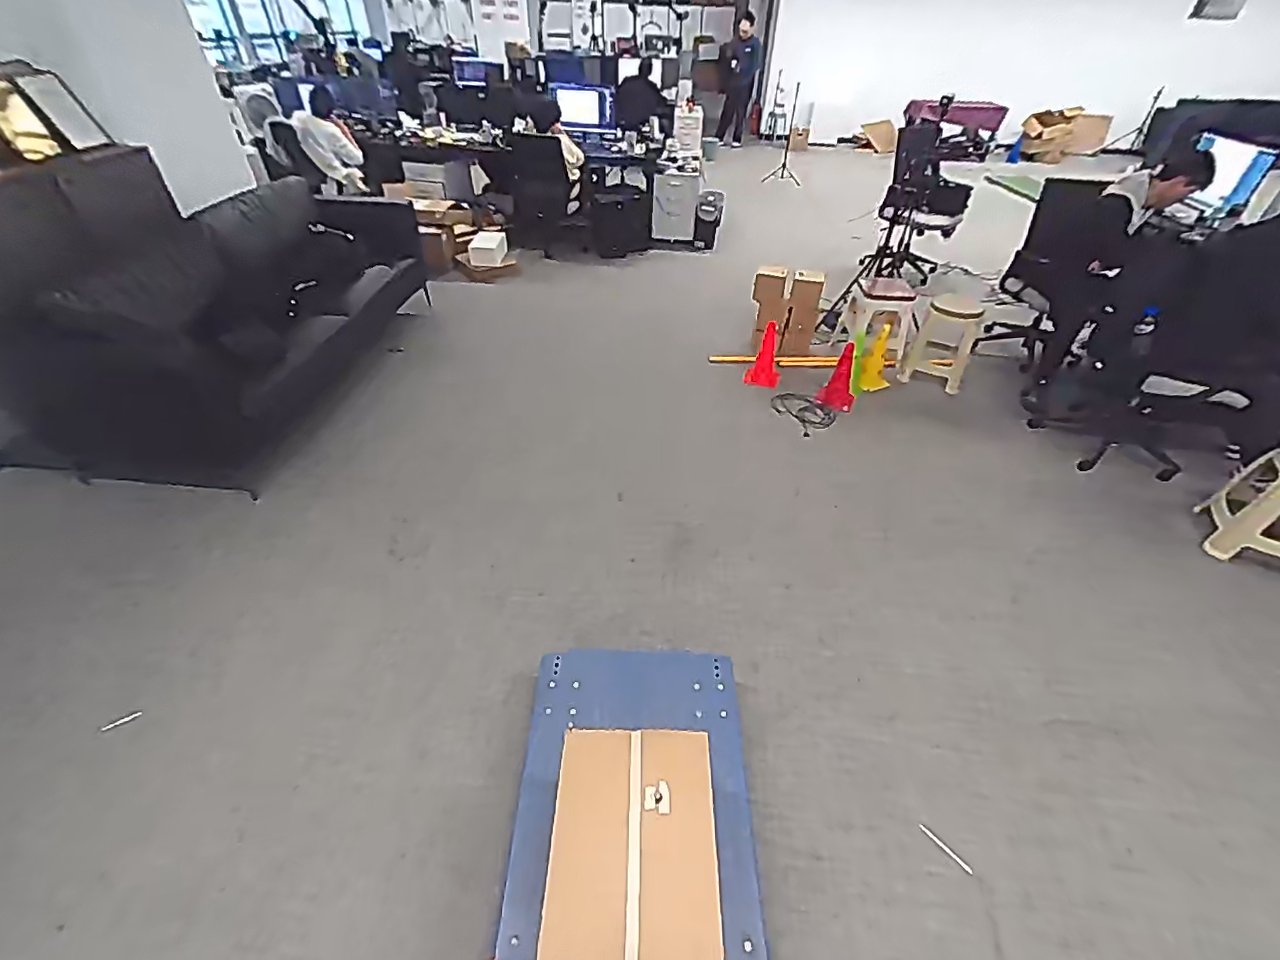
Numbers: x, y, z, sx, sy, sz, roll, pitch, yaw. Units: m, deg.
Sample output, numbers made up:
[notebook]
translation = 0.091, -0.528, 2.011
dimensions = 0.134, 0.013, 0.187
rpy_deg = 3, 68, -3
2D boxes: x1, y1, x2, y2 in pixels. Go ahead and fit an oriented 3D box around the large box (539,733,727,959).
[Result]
[large box]
translation = -0.010, 0.794, 1.114
dimensions = 0.320, 0.320, 0.408
rpy_deg = 1, 39, 0
